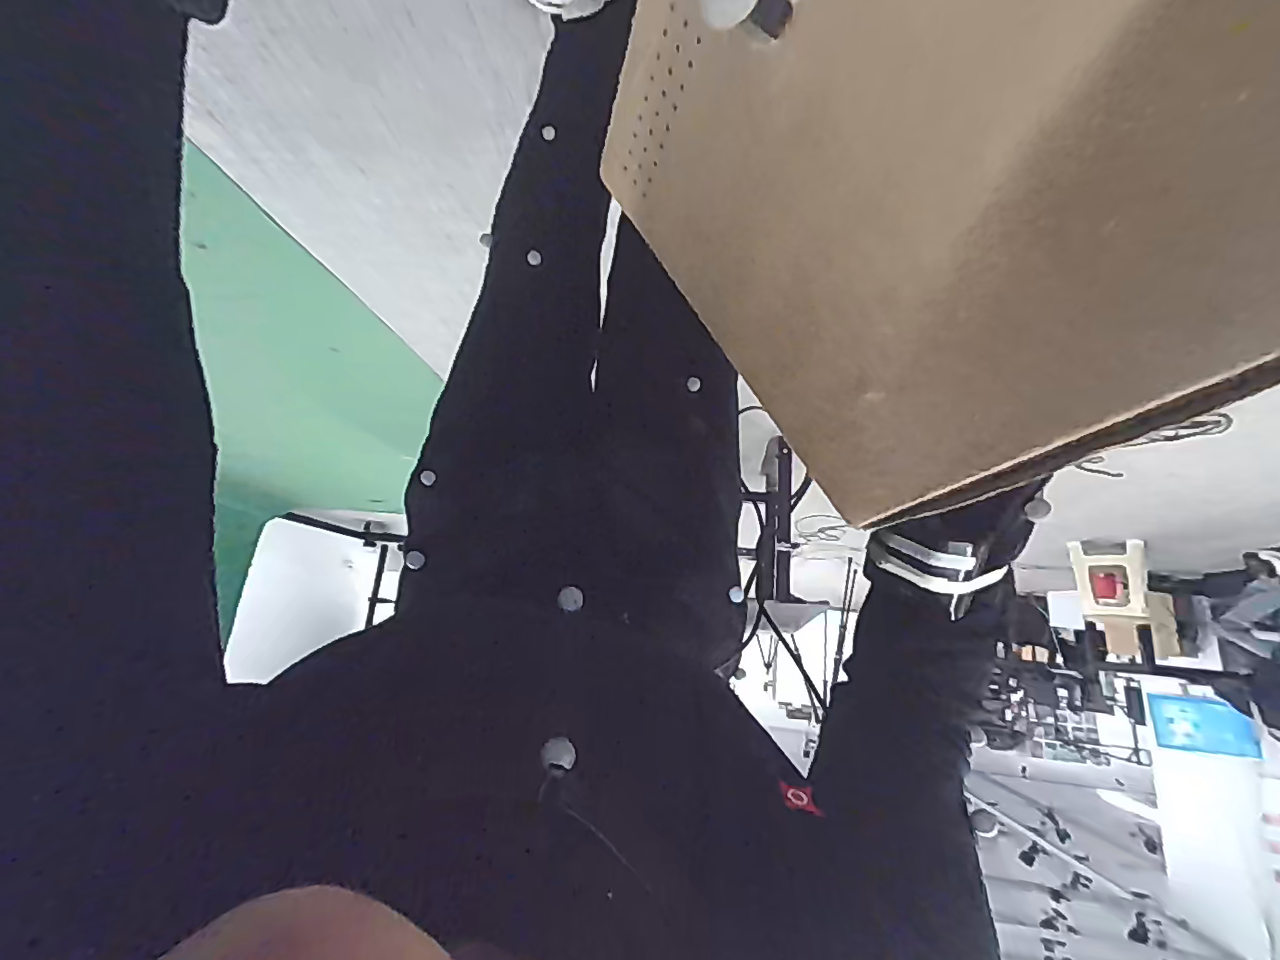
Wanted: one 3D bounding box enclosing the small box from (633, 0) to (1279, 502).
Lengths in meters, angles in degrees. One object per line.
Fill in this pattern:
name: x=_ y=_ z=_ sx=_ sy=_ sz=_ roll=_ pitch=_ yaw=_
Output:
small box: x=0.119 y=-0.122 z=0.151 sx=0.168 sy=0.176 sz=0.179 roll=-29 pitch=171 yaw=-24
